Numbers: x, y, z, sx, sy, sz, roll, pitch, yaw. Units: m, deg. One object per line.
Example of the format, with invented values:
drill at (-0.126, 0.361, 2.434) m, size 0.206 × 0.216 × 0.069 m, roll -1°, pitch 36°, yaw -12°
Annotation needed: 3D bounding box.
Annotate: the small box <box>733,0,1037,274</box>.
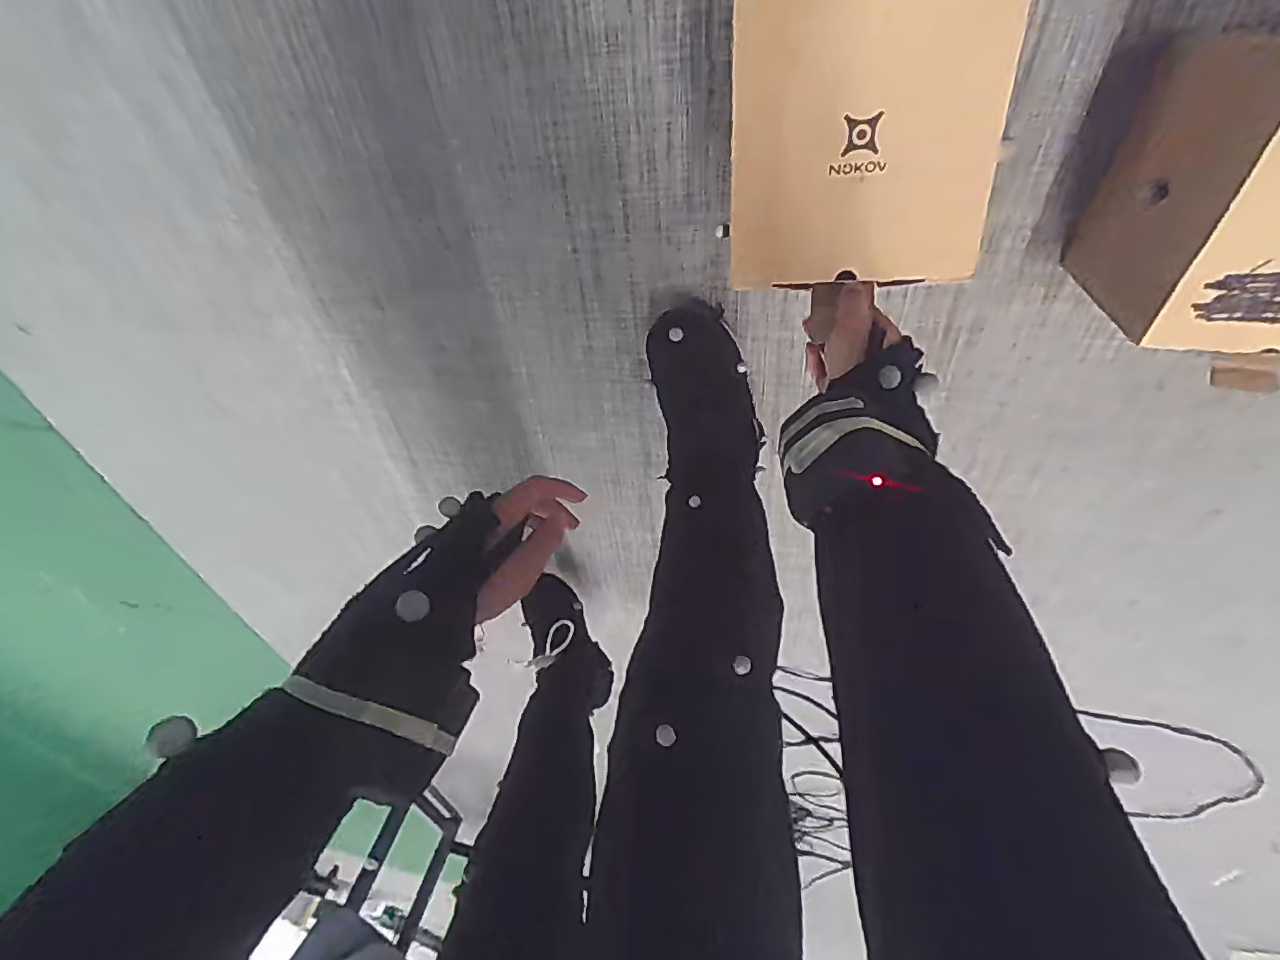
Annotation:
small box at (0.160, -0.259, 0.409) m, size 0.168 × 0.176 × 0.179 m, roll 3°, pitch 118°, yaw 14°
